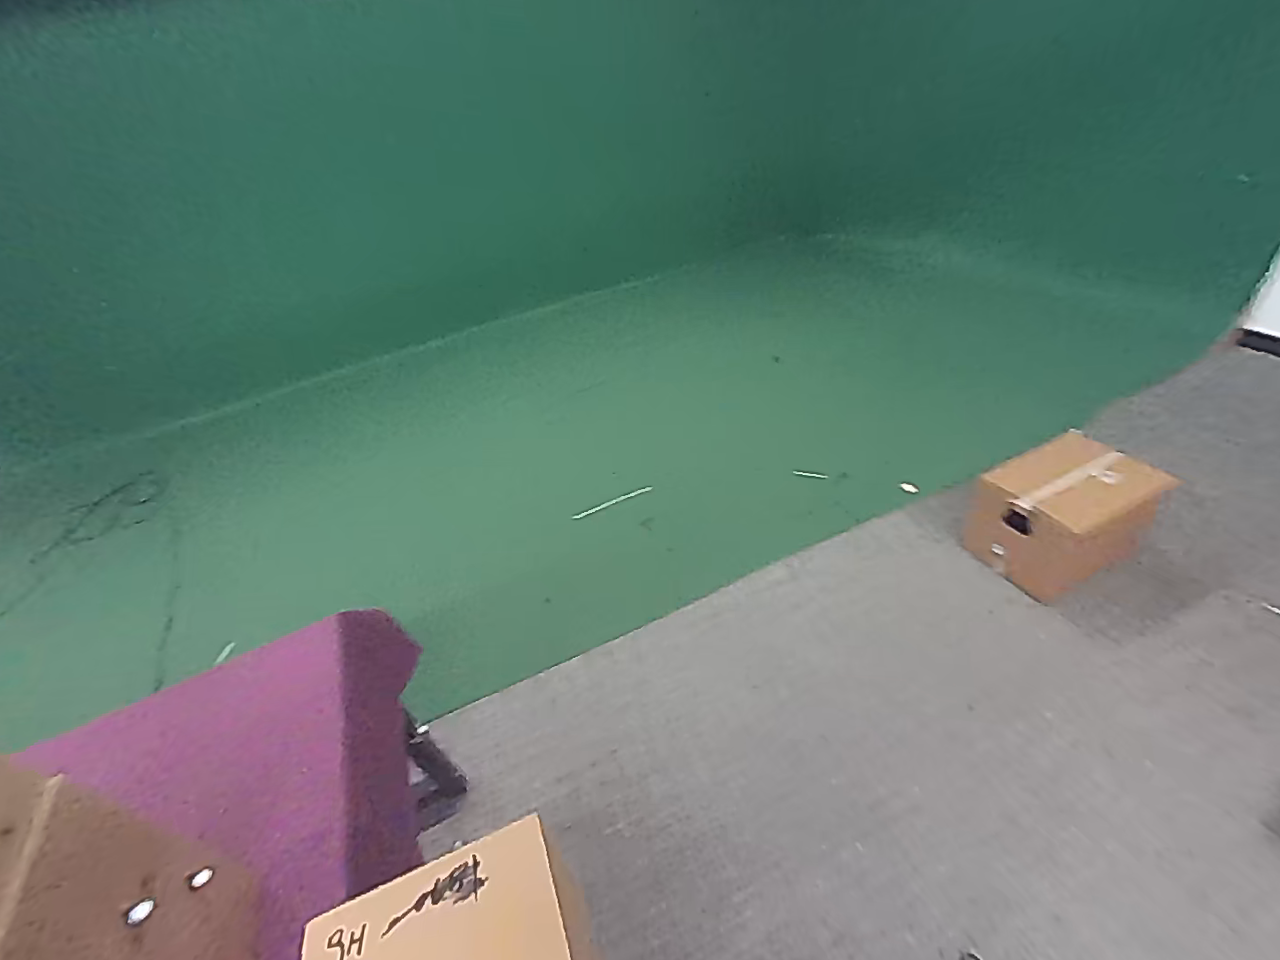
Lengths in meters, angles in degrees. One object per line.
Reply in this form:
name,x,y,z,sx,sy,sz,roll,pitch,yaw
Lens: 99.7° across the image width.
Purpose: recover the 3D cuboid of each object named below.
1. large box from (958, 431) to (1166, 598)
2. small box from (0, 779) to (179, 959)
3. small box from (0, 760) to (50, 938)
large box,1.306,0.103,1.714,0.408,0.320,0.320,-22,39,-13
small box,-0.599,0.435,0.510,0.179,0.176,0.168,-25,41,-15
small box,-0.631,0.316,0.404,0.179,0.176,0.168,-26,41,-17
